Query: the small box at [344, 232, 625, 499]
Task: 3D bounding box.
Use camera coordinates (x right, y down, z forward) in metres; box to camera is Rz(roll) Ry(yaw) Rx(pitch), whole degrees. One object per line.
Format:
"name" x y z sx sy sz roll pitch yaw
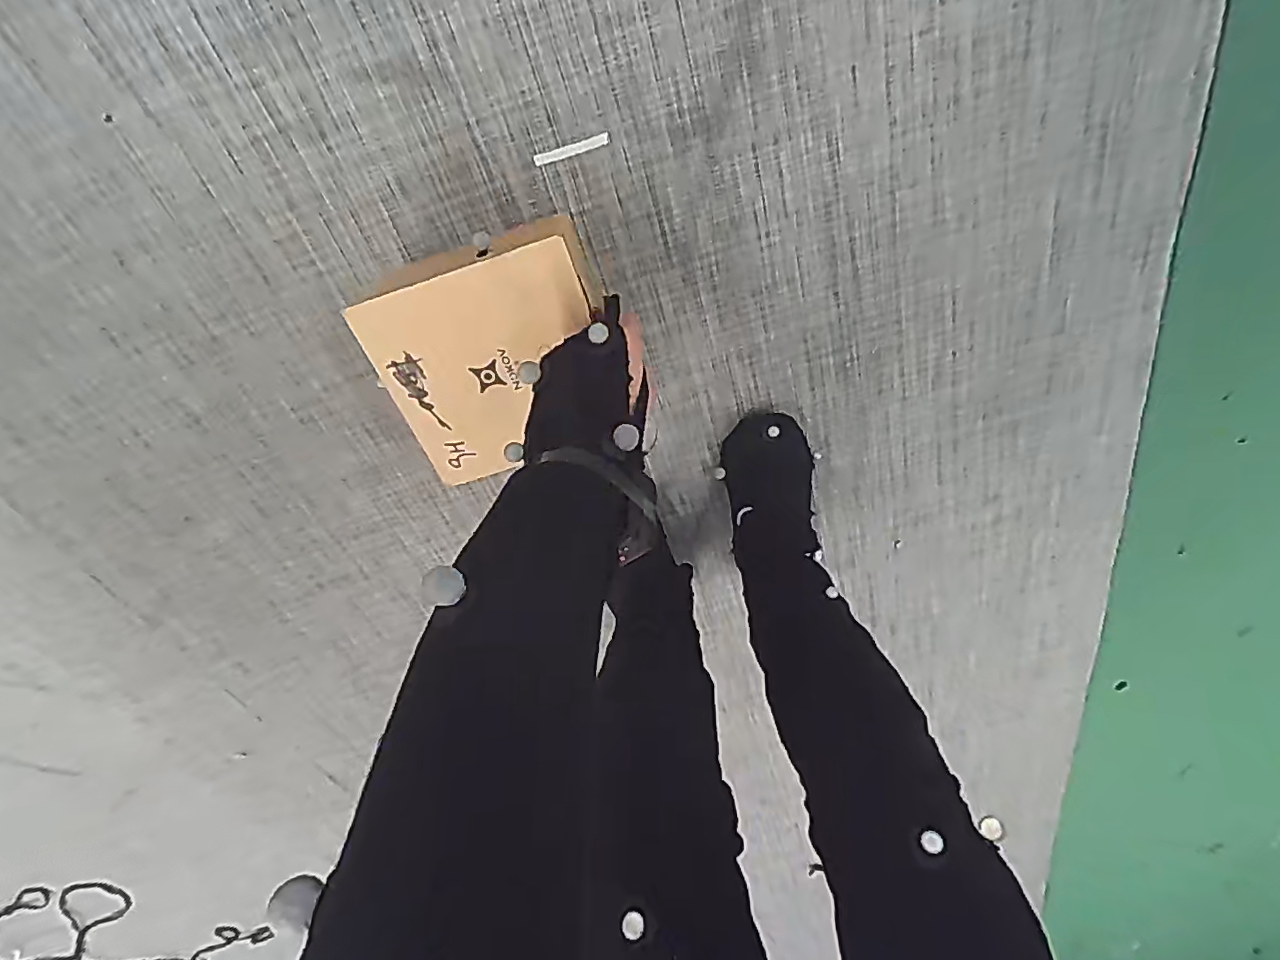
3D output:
"small box" -0.128 -0.115 0.504 0.179 0.176 0.168 -18 122 2
